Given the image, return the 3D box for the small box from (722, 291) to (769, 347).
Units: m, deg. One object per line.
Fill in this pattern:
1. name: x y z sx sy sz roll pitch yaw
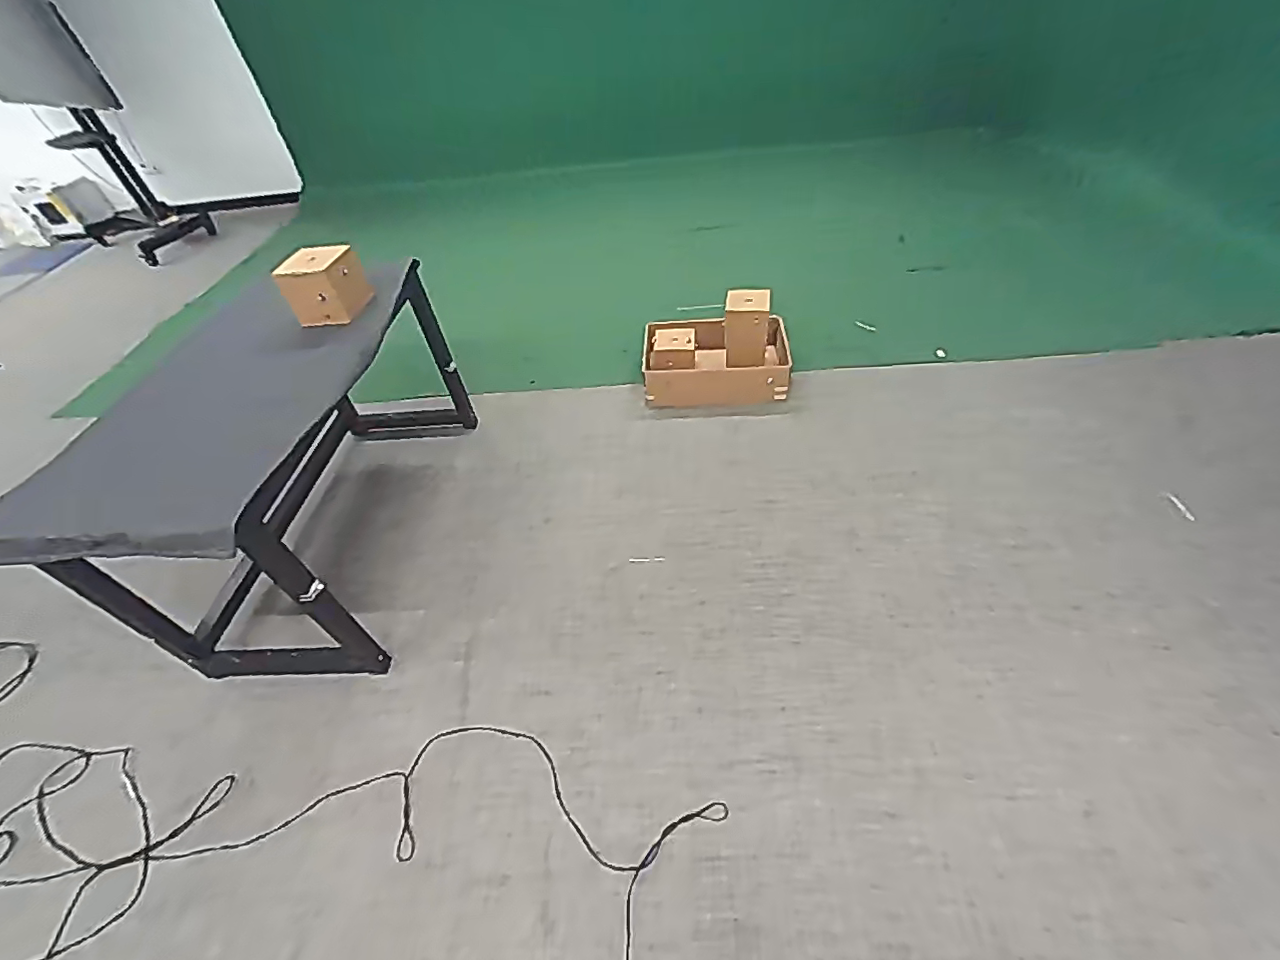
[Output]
1. small box: 0.439 -0.670 2.257 0.179 0.176 0.168 4 48 11

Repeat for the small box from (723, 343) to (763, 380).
1. small box: 0.454 -0.561 2.379 0.168 0.176 0.179 3 49 11

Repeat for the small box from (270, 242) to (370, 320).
1. small box: -0.948 -0.593 1.626 0.168 0.176 0.179 0 45 7
